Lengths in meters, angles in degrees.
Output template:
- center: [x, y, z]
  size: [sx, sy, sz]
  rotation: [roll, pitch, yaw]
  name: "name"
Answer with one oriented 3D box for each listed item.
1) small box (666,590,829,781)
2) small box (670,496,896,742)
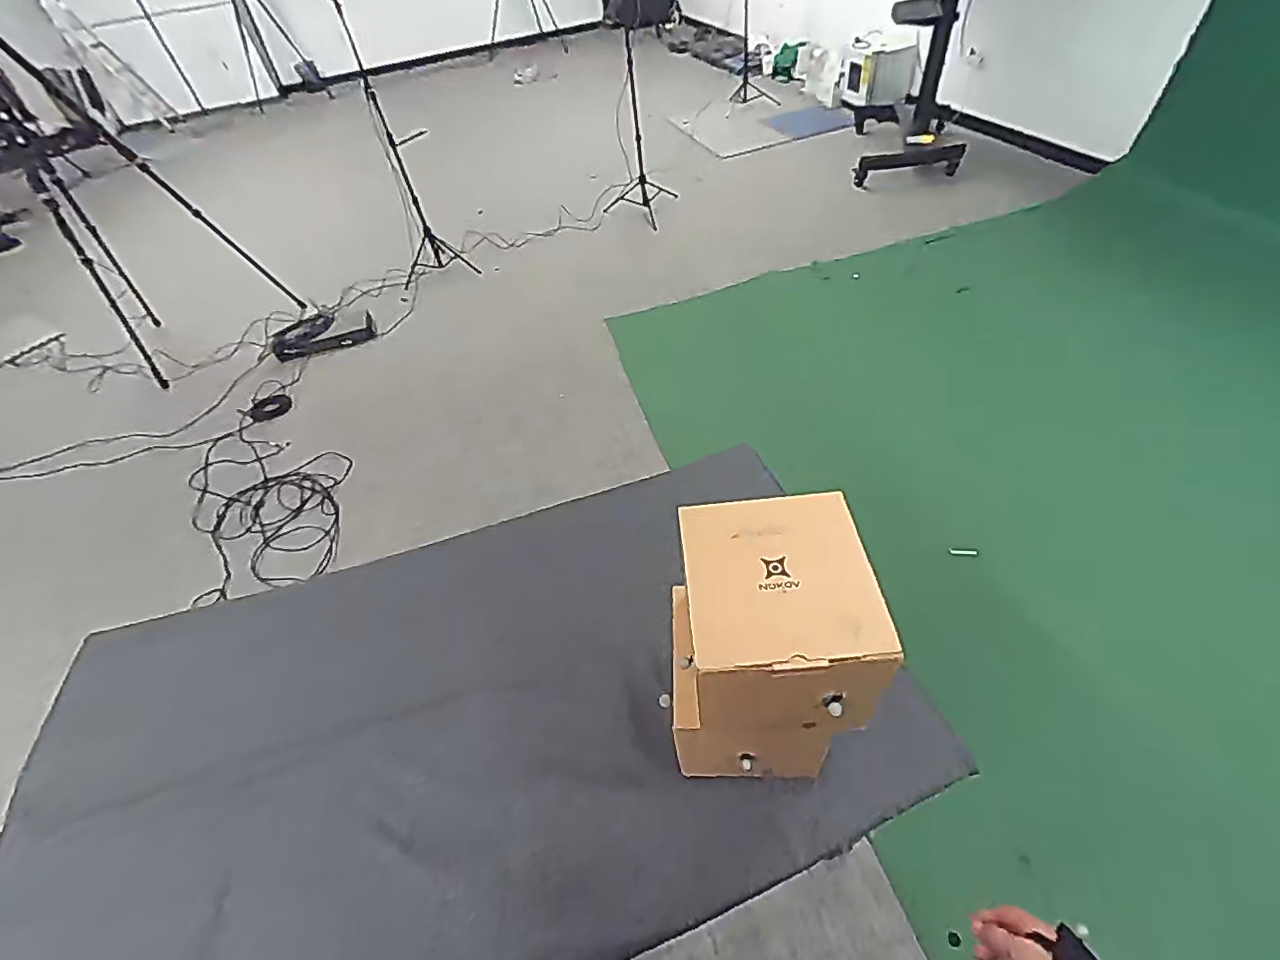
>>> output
- center: [0.122, 0.249, 0.653]
  size: [0.168, 0.176, 0.179]
  rotation: [-3, 46, 6]
  name: "small box"
- center: [0.122, 0.142, 0.529]
  size: [0.168, 0.176, 0.179]
  rotation: [-6, 46, 2]
  name: "small box"
